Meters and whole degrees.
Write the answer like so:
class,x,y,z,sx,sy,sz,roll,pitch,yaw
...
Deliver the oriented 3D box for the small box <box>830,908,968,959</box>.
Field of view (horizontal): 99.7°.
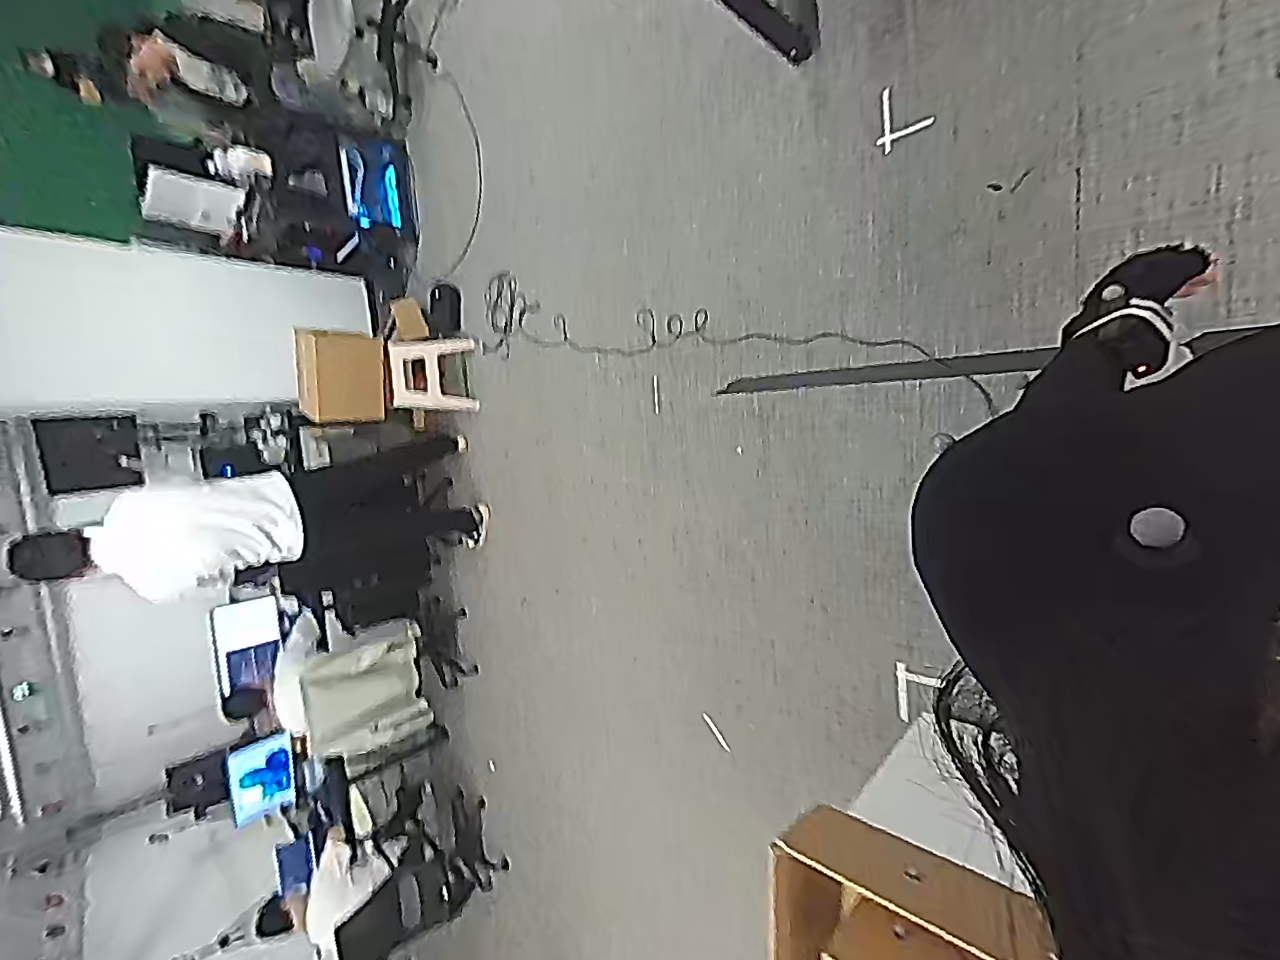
class,x,y,z,sx,sy,sz,roll,pitch,yaw
small box,0.442,0.886,0.920,0.179,0.176,0.168,2,93,44
